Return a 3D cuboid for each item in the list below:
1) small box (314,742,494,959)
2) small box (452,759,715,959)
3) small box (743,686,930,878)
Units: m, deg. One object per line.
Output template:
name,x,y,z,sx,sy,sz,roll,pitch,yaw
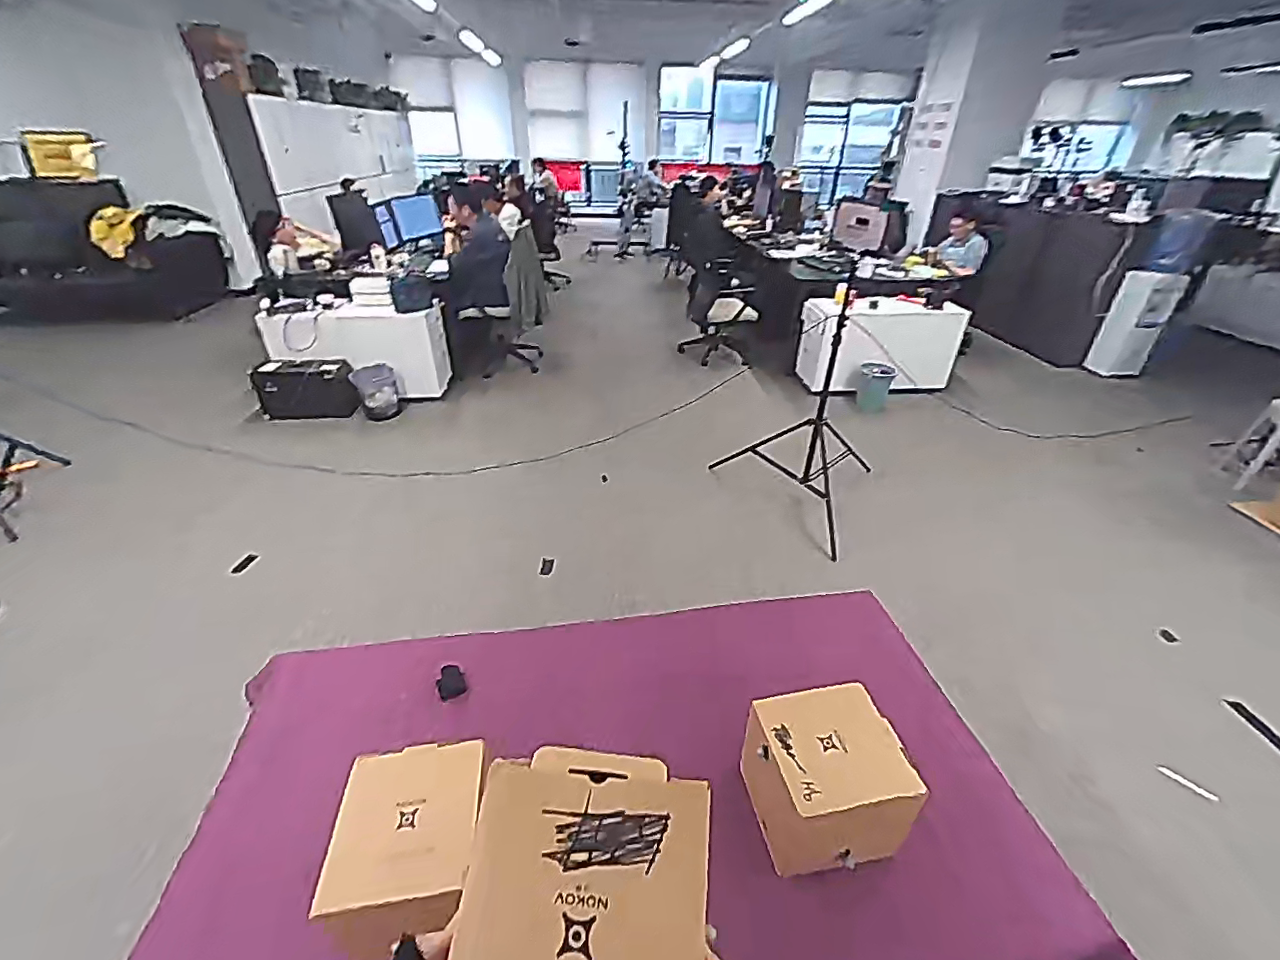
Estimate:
small box,-0.272,0.468,0.680,0.168,0.176,0.179,-5,33,-8
small box,-0.036,0.332,0.420,0.168,0.176,0.179,5,57,4
small box,0.262,0.423,0.766,0.179,0.176,0.168,-5,32,-10
